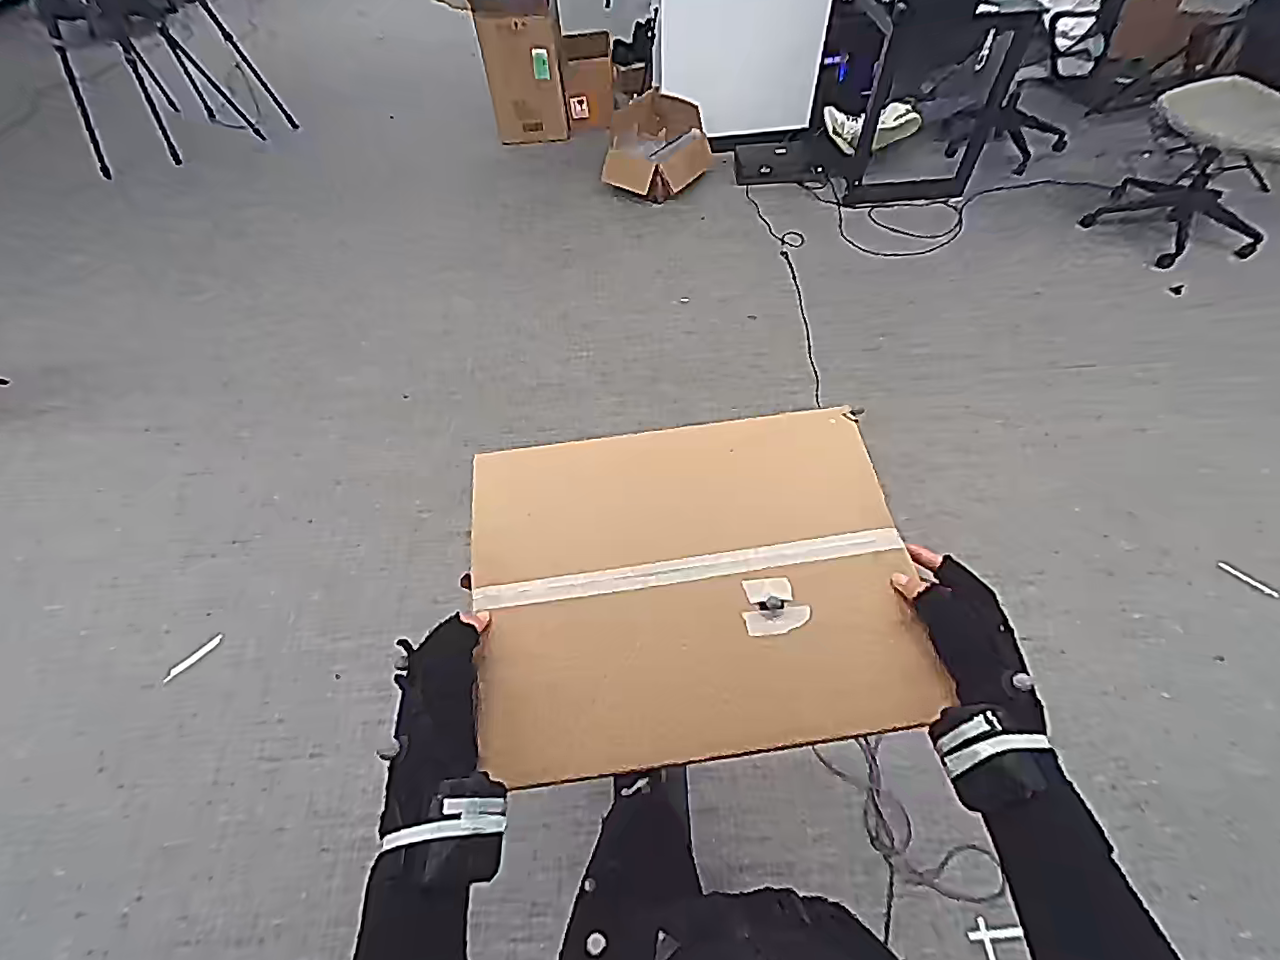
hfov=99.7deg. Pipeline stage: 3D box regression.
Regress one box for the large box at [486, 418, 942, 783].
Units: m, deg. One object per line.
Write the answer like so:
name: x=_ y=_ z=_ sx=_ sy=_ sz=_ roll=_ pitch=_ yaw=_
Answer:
large box: x=0.051 y=0.161 z=0.663 sx=0.408 sy=0.320 sz=0.320 roll=-8 pitch=63 yaw=-3
